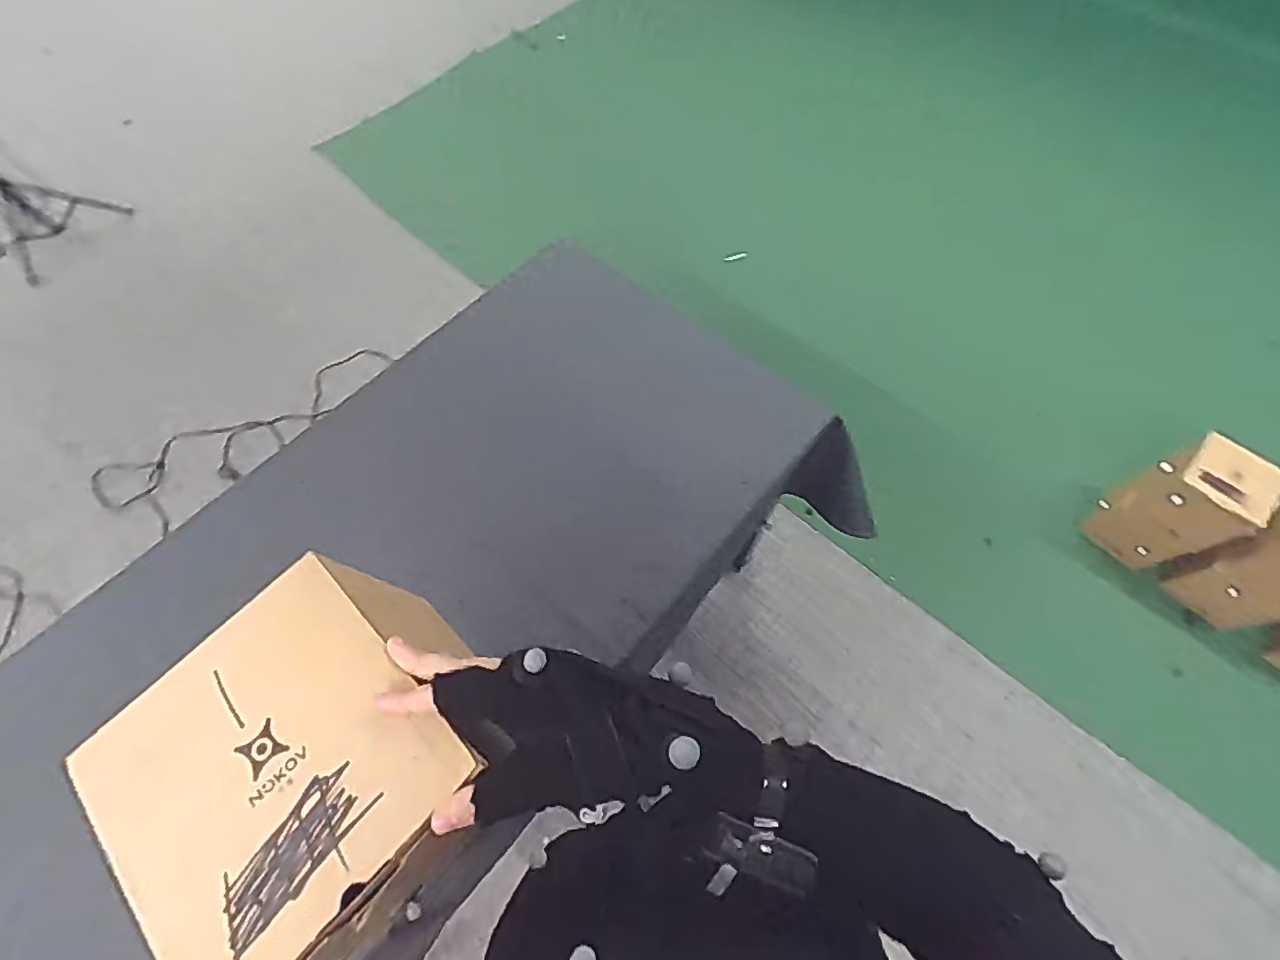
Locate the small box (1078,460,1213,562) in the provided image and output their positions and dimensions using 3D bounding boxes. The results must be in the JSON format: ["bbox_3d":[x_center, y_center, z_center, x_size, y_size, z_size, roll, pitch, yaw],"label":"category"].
[{"bbox_3d":[1.303,0.087,1.410,0.179,0.176,0.168,-41,70,-16],"label":"small box"}]

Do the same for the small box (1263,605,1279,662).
[{"bbox_3d":[1.640,0.371,1.260,0.168,0.176,0.179,38,72,18],"label":"small box"}]
